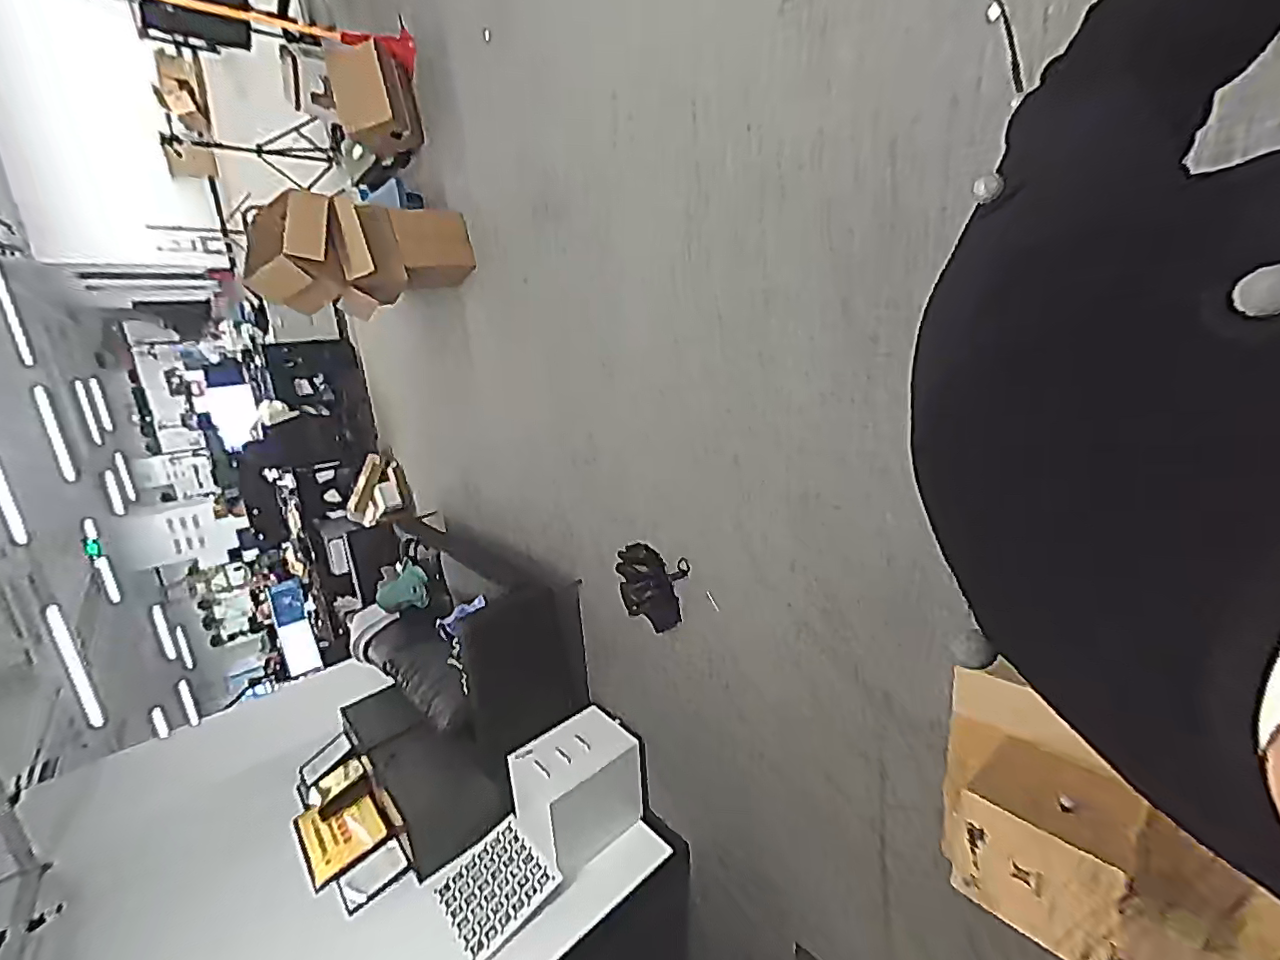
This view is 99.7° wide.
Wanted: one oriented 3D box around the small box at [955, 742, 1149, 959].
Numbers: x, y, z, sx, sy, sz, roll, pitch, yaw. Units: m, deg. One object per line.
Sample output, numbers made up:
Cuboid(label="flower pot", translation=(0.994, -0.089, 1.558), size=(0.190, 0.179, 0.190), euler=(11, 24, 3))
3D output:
Cuboid(label="small box", translation=(0.567, 0.499, 0.745), size=(0.179, 0.176, 0.168), euler=(12, 107, 47))
